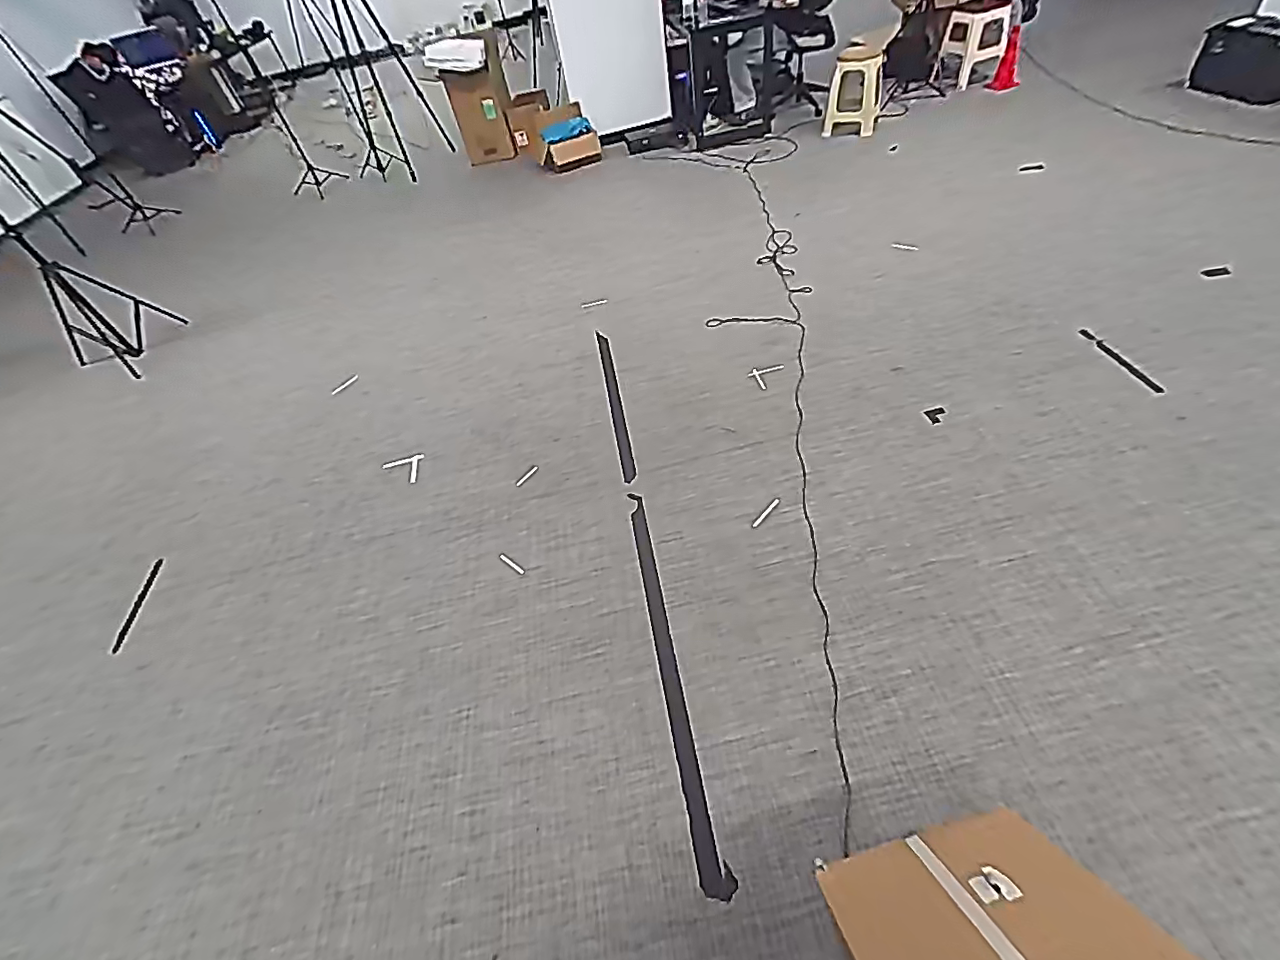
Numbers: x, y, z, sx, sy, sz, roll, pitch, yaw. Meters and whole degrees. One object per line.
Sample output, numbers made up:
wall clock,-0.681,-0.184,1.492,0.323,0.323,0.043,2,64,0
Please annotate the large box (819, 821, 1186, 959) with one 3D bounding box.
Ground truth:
large box,0.459,0.687,0.613,0.320,0.408,0.320,-16,84,-1
